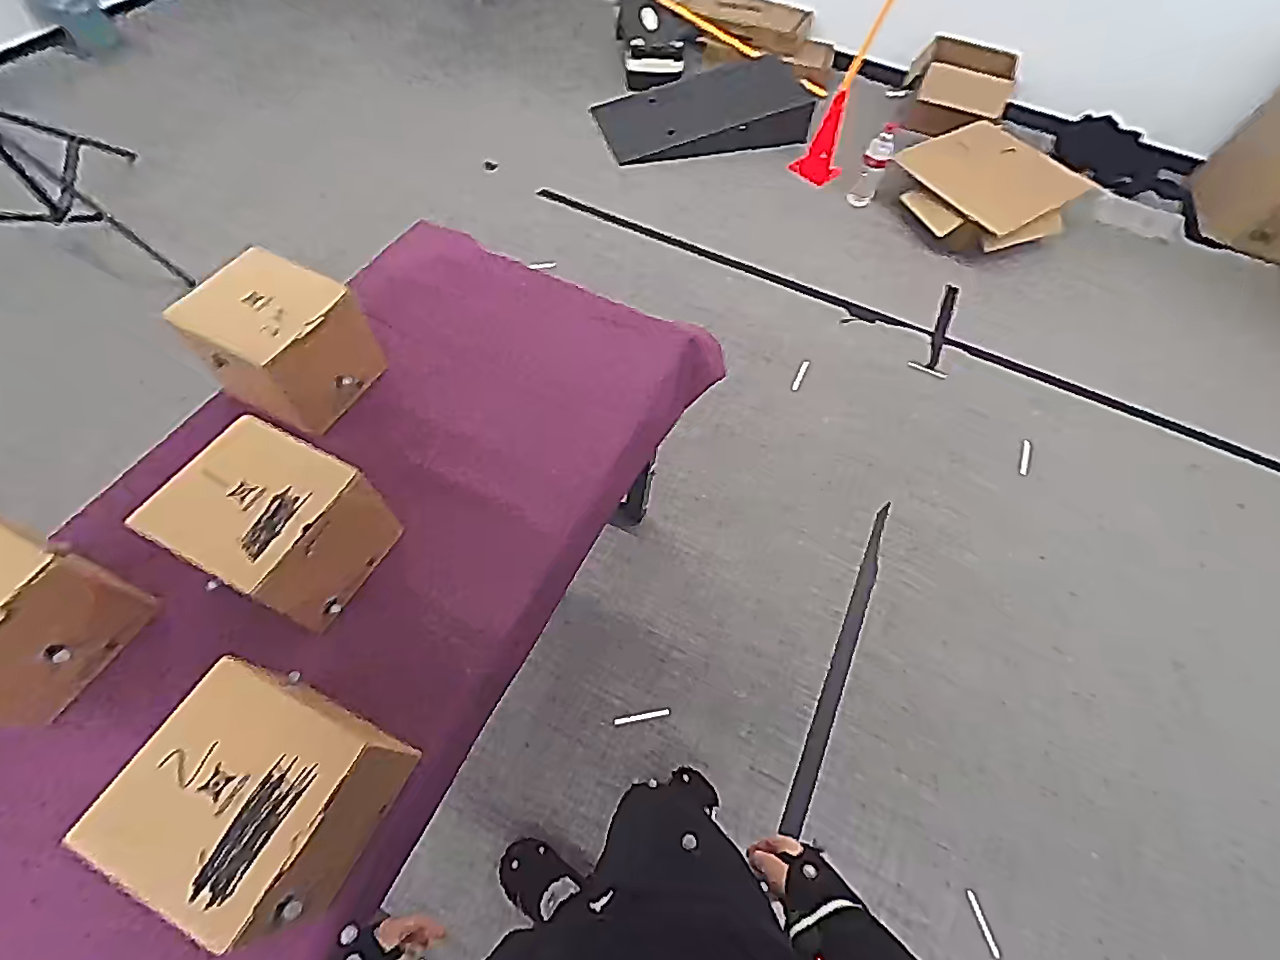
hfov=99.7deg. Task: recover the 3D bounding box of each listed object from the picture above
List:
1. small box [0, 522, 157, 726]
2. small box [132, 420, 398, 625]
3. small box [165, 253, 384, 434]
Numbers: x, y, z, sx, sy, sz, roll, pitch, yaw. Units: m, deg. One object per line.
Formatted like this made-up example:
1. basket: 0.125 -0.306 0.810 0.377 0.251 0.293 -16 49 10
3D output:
1. small box: -0.707 0.152 0.594 0.179 0.176 0.168 25 61 7
2. small box: -0.439 0.062 0.671 0.179 0.176 0.168 24 61 10
3. small box: -0.527 -0.197 0.810 0.179 0.176 0.168 25 62 8
